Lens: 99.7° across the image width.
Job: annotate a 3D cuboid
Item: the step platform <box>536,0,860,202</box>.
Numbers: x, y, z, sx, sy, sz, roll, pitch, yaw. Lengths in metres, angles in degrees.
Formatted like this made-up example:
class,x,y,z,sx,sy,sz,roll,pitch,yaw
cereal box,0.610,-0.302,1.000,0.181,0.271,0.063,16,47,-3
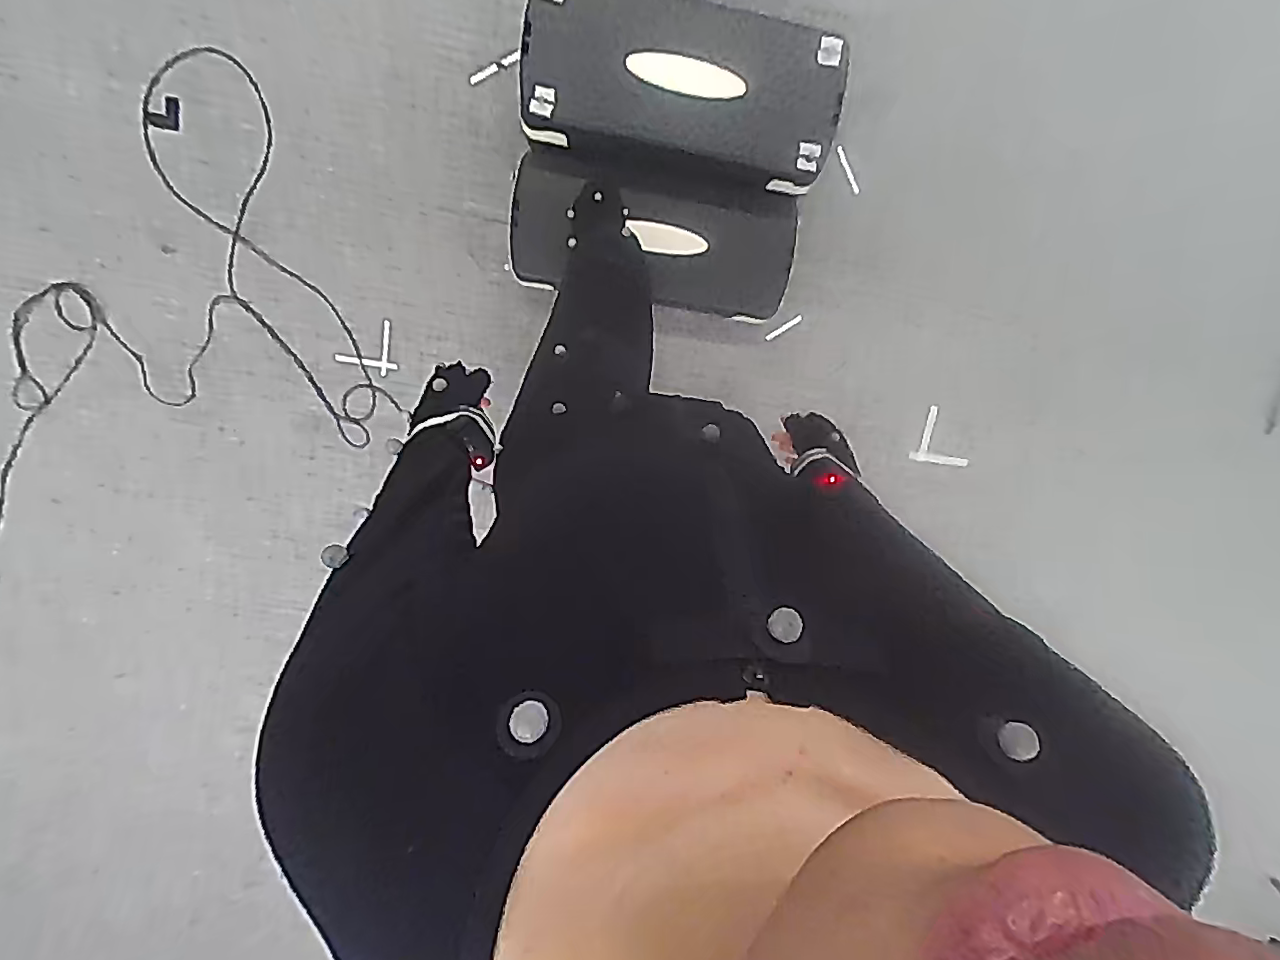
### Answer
class,x,y,z,sx,sy,sz,roll,pitch,yaw
step platform,0.117,-0.836,1.189,0.684,0.204,0.286,8,103,-6
